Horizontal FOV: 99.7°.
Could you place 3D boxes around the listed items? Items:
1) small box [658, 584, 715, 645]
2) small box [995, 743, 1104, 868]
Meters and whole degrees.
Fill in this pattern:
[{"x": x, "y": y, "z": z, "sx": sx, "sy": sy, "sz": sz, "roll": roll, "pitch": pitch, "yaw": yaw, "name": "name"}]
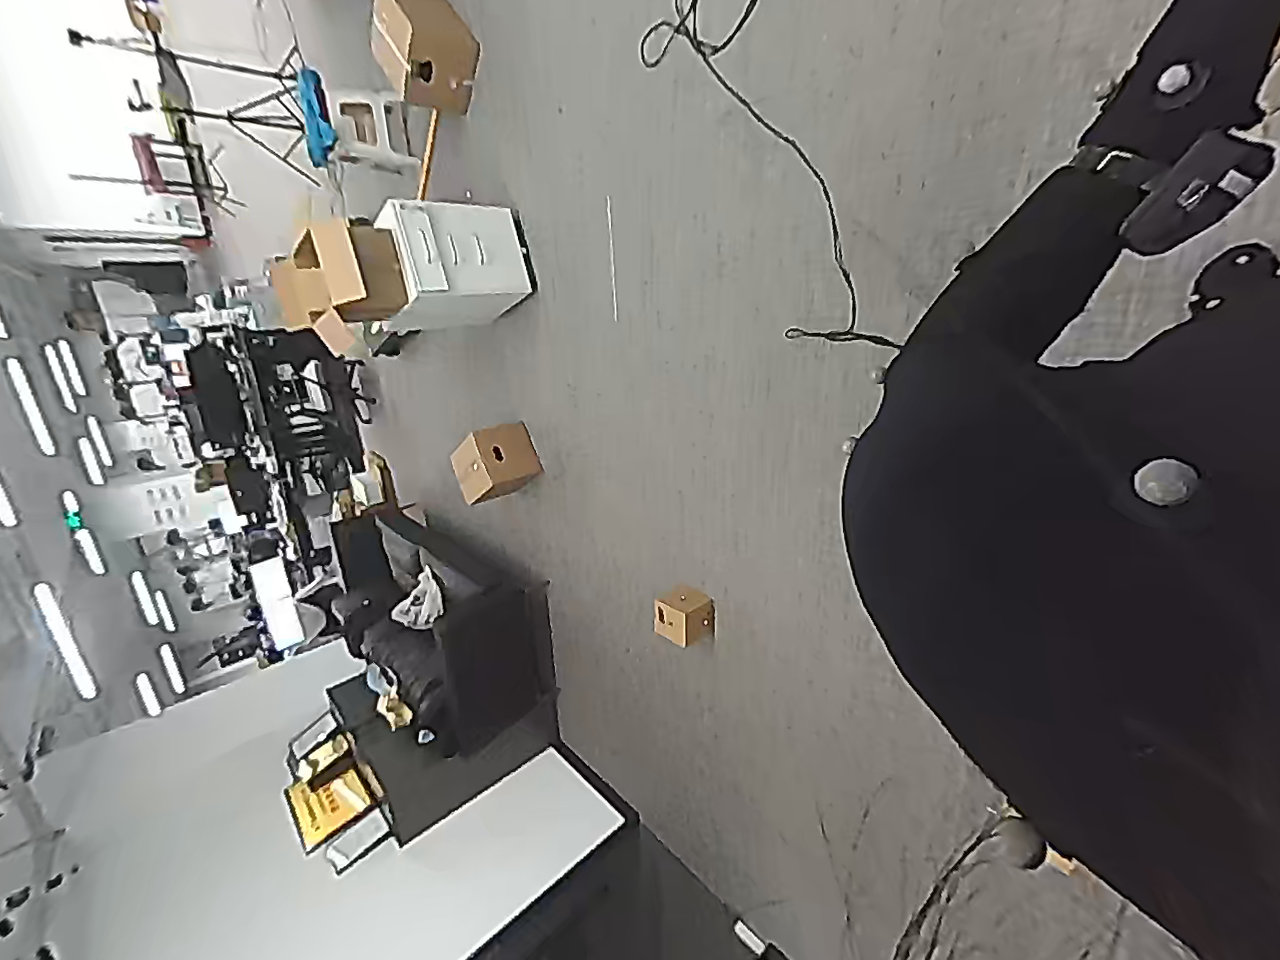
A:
[{"x": 0.195, "y": 0.559, "z": 2.288, "sx": 0.179, "sy": 0.176, "sz": 0.168, "roll": 19, "pitch": 118, "yaw": 44, "name": "small box"}, {"x": 1.049, "y": 0.823, "z": 1.383, "sx": 0.168, "sy": 0.176, "sz": 0.179, "roll": 24, "pitch": 122, "yaw": 42, "name": "small box"}]
